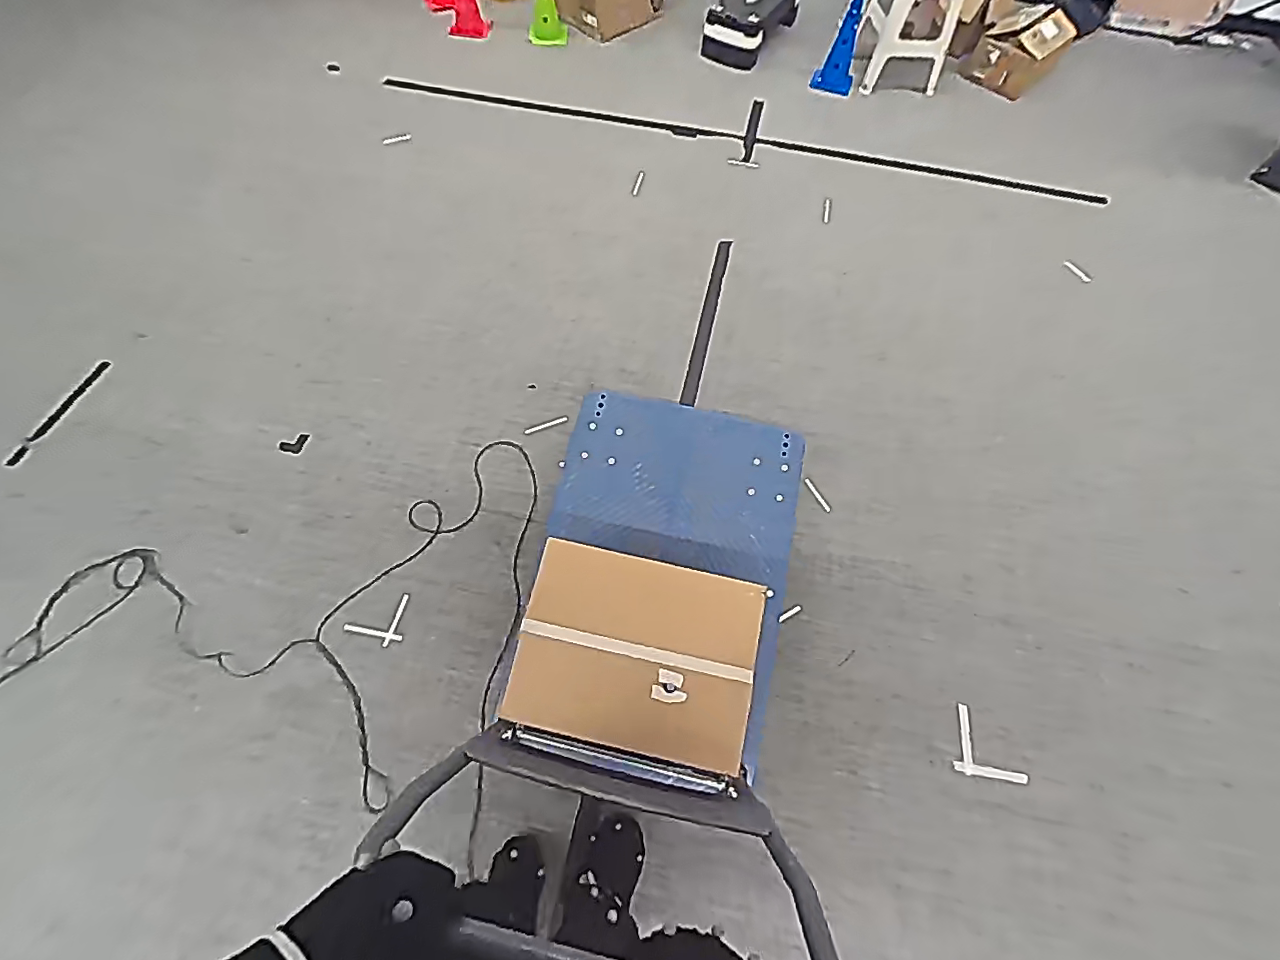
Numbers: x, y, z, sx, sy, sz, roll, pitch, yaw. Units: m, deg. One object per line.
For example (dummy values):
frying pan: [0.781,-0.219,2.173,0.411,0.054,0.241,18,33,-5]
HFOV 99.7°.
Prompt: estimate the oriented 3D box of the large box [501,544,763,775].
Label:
large box: [-0.010,0.339,1.062,0.408,0.320,0.320,13,74,3]
